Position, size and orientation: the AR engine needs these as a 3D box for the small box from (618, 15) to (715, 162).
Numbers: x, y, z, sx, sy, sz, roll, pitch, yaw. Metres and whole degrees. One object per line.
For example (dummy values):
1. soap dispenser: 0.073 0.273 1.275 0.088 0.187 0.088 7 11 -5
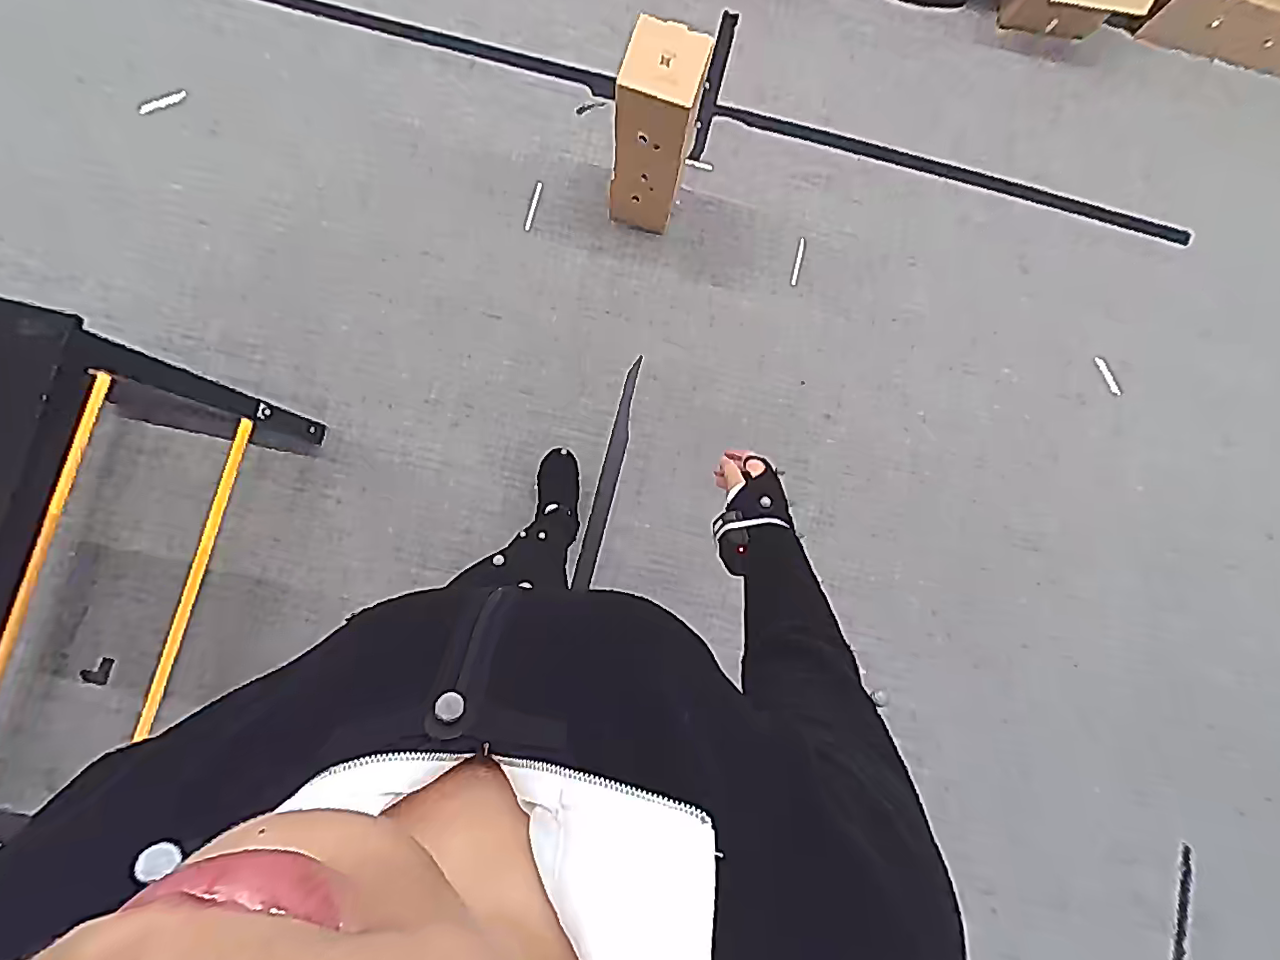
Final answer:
1. small box: 0.051 -0.858 1.200 0.168 0.176 0.179 17 84 -2

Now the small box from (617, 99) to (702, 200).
1. small box: 0.042 -0.855 1.363 0.168 0.176 0.179 17 83 -2

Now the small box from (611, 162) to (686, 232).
1. small box: 0.021 -0.835 1.525 0.179 0.176 0.168 17 83 -3
